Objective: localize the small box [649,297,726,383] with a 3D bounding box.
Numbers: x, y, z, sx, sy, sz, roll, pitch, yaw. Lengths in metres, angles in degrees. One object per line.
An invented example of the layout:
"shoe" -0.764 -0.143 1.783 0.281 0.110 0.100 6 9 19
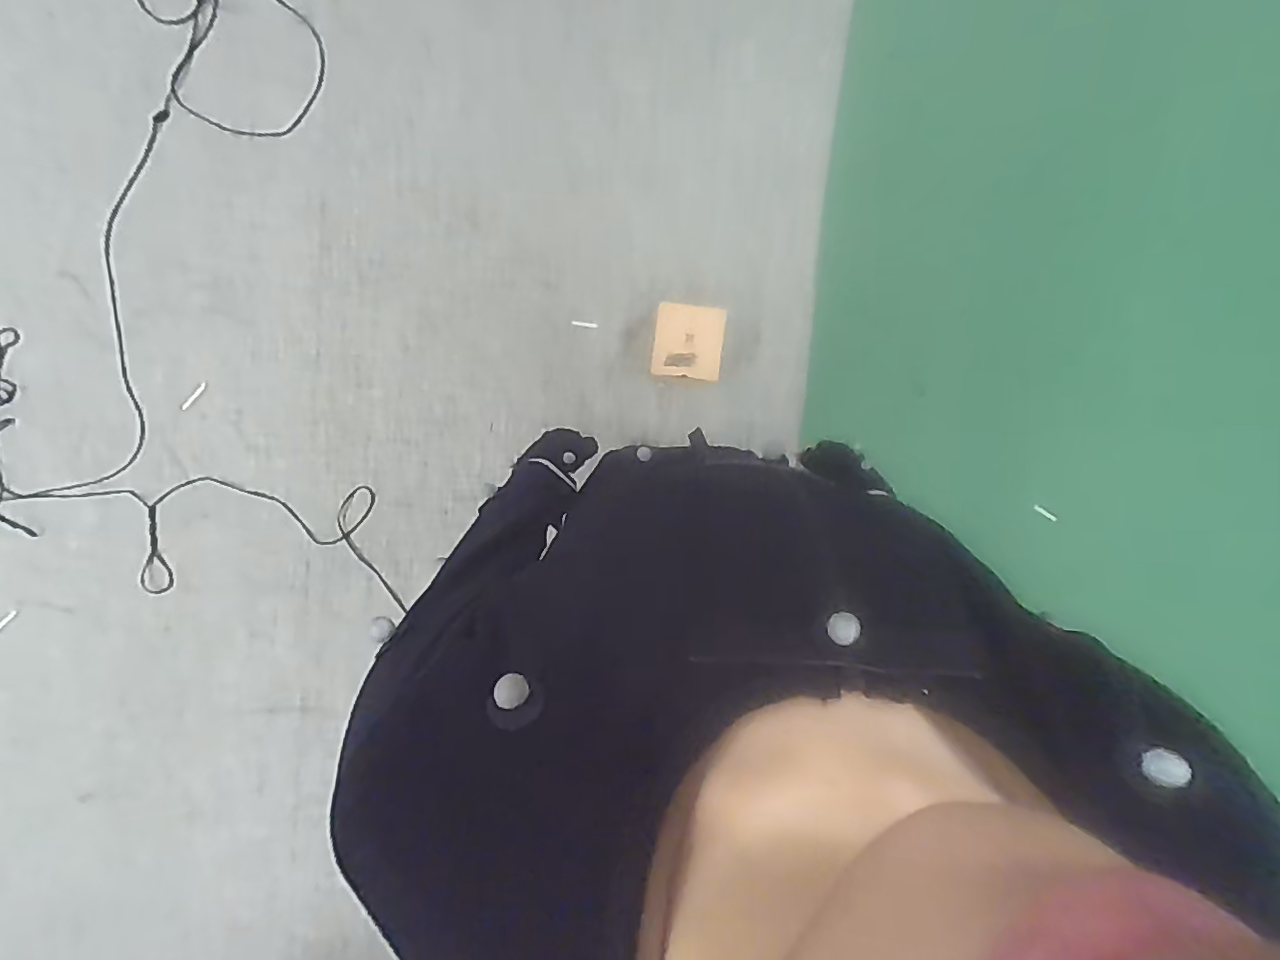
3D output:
"small box" 0.115 -0.346 1.369 0.168 0.176 0.179 7 94 0
